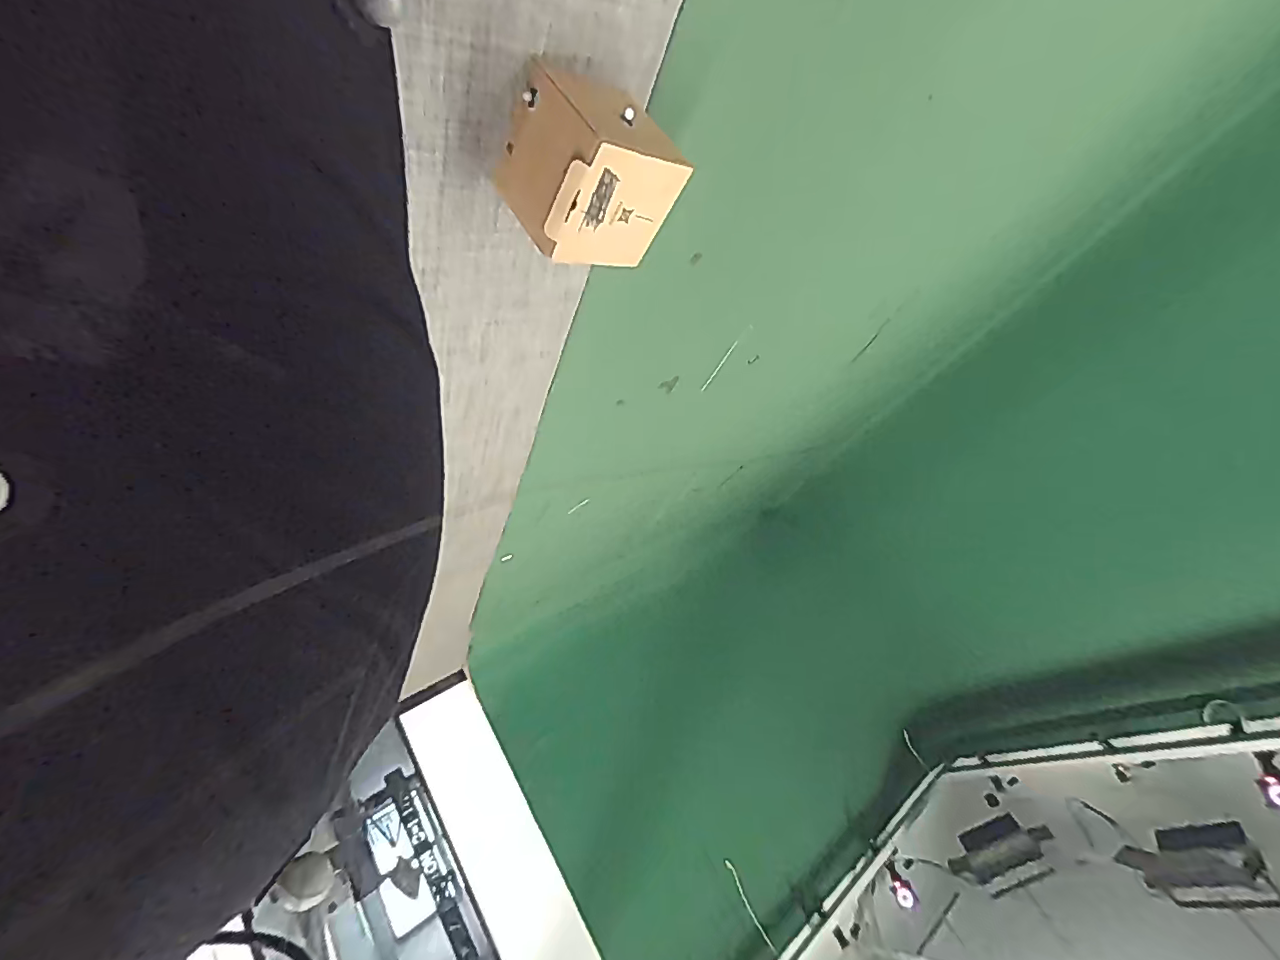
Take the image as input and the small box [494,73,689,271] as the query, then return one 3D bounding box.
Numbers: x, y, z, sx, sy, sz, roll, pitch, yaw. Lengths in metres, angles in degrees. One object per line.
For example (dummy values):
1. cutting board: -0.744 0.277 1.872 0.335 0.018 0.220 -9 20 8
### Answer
1. small box: -0.073 -0.415 0.746 0.179 0.176 0.168 -18 157 -44
